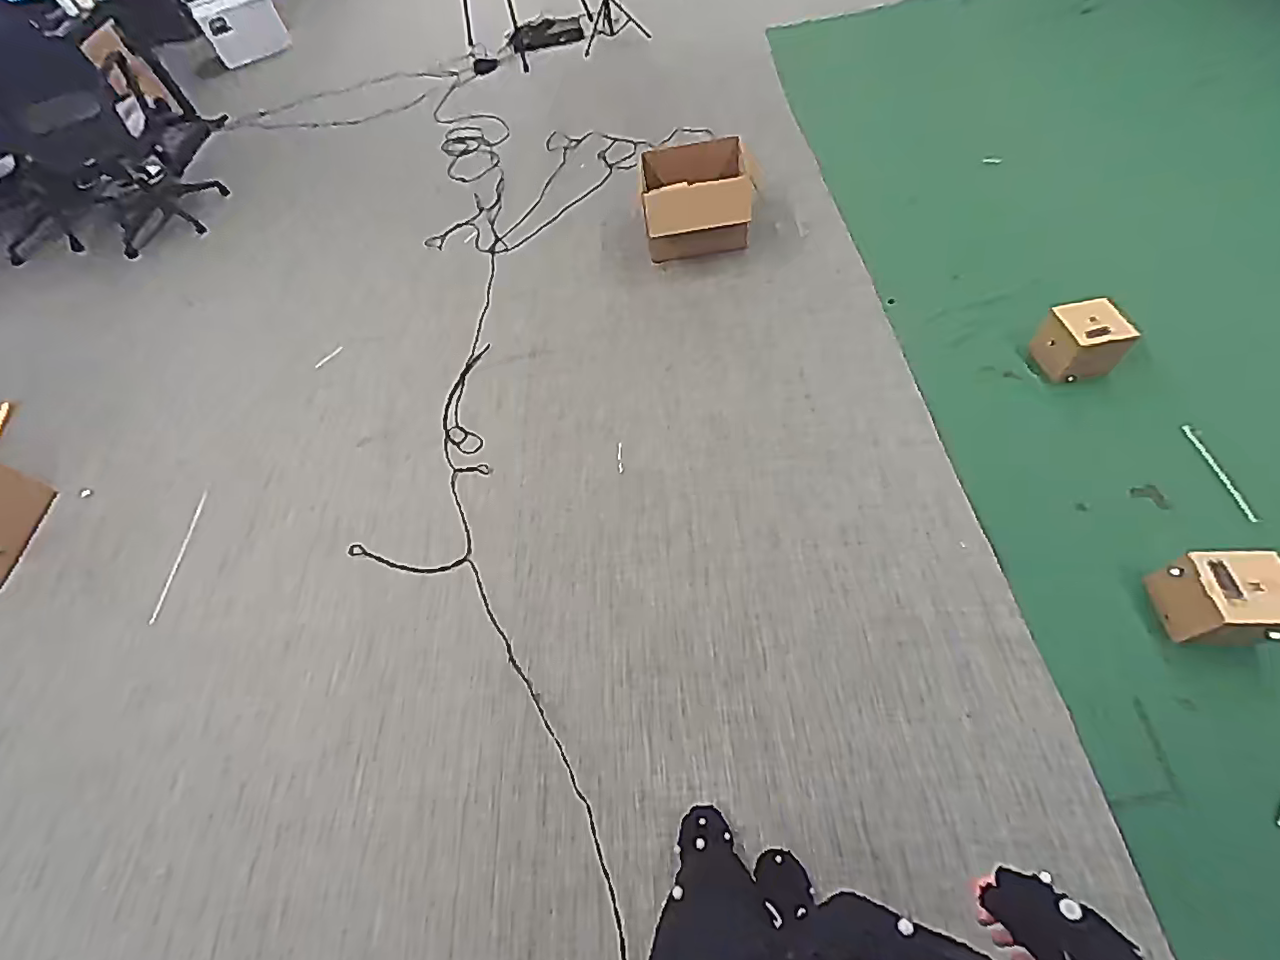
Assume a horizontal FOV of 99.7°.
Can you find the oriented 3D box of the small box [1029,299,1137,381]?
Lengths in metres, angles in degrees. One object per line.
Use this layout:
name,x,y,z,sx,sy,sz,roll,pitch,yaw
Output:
small box,1.355,-0.422,1.668,0.168,0.176,0.179,-9,56,3
